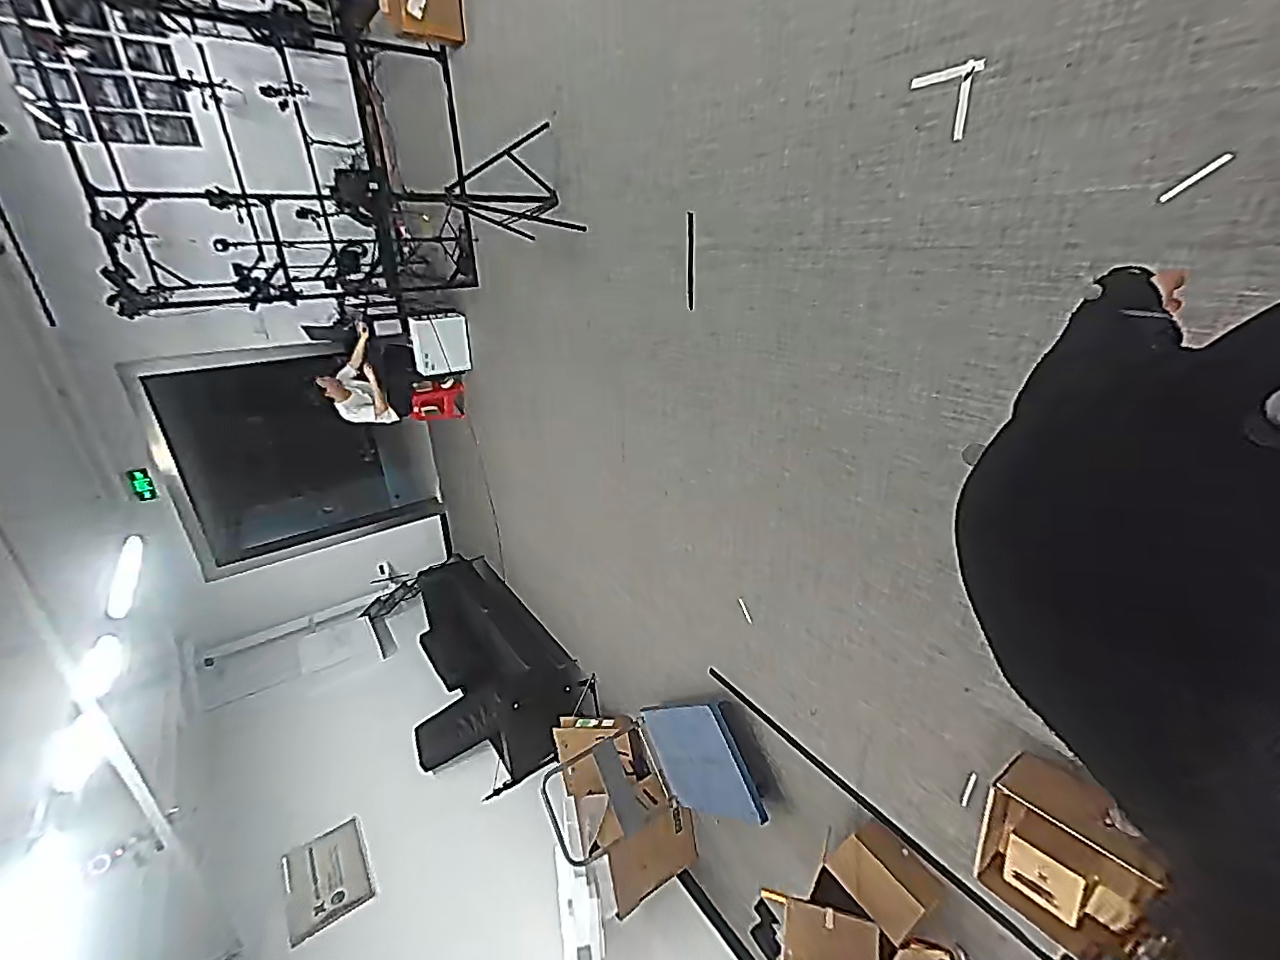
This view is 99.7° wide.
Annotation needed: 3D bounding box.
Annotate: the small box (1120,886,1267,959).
[{"bbox_3d":[1.270,1.096,1.242,0.168,0.176,0.179,37,134,46],"label":"small box"}]
